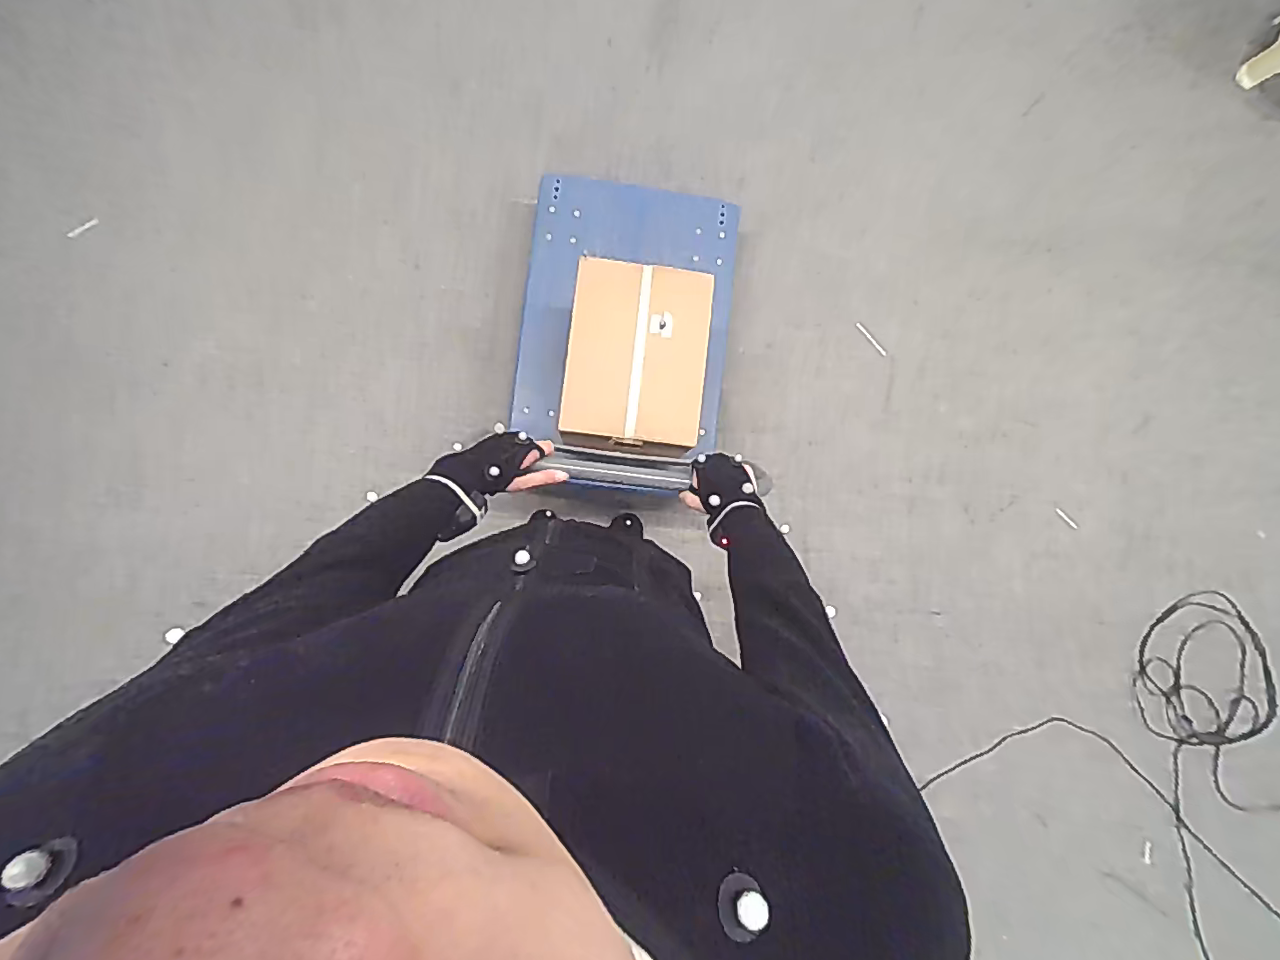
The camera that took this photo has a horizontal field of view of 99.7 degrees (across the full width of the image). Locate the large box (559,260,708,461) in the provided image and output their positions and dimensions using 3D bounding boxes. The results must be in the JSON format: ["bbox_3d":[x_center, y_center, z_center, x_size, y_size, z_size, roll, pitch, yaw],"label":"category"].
[{"bbox_3d":[-0.022,-0.274,1.363,0.320,0.320,0.408,6,84,-5],"label":"large box"}]
